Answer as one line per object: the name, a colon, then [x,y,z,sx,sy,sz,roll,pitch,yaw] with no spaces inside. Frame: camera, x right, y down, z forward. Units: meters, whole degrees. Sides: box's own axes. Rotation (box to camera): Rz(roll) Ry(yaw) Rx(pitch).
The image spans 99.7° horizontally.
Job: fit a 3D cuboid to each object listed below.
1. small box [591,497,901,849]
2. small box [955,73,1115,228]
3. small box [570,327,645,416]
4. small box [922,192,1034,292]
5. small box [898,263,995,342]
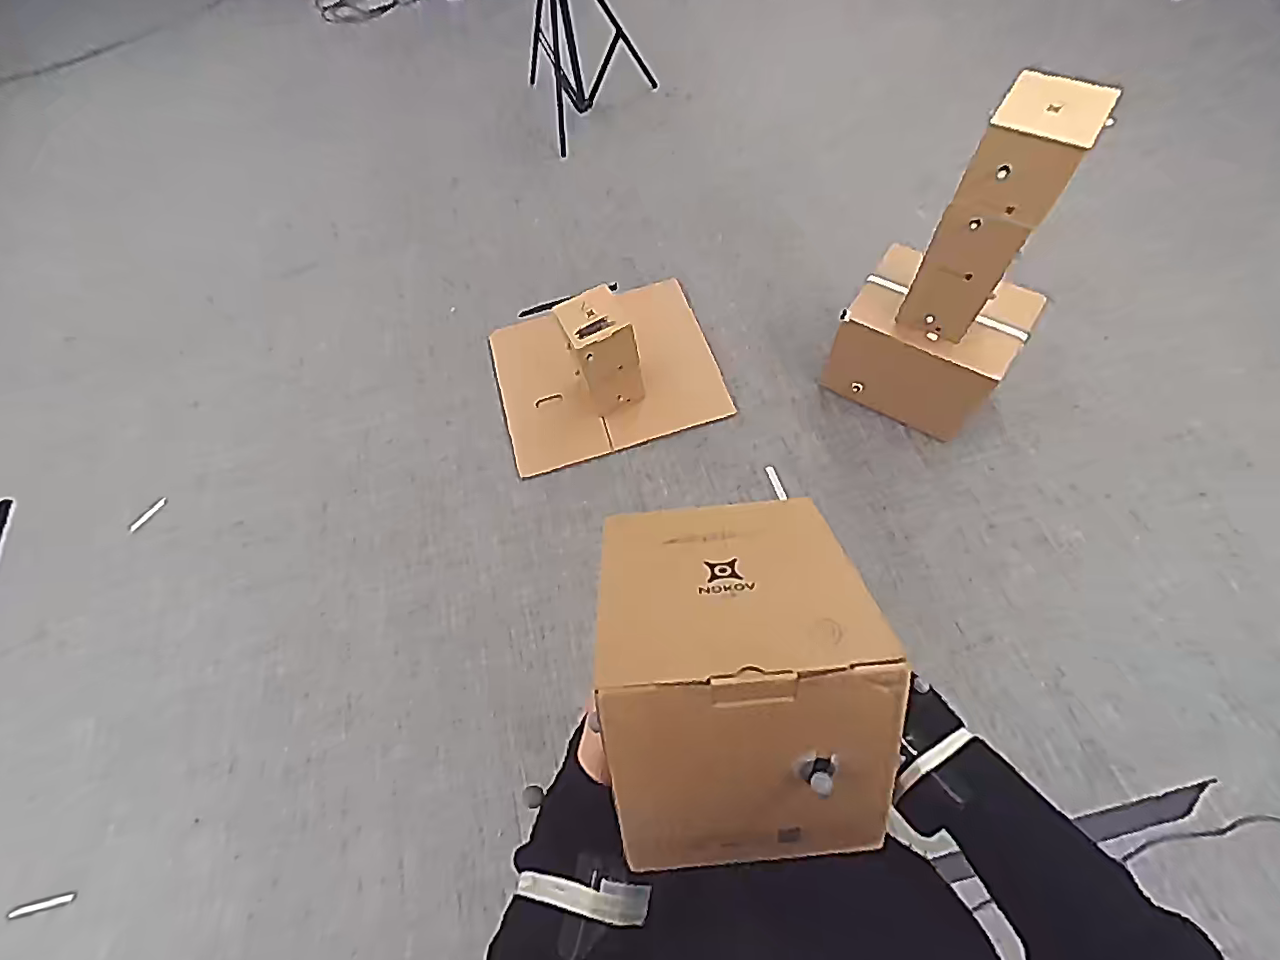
small box: [0.061,0.132,0.388,0.168,0.176,0.179,-6,26,0]
small box: [0.725,-0.612,1.014,0.168,0.176,0.179,29,71,19]
small box: [-0.098,-0.330,1.672,0.168,0.176,0.179,-26,65,-3]
small box: [0.740,-0.545,1.162,0.168,0.176,0.179,30,70,19]
small box: [0.755,-0.471,1.309,0.168,0.176,0.179,30,72,19]
